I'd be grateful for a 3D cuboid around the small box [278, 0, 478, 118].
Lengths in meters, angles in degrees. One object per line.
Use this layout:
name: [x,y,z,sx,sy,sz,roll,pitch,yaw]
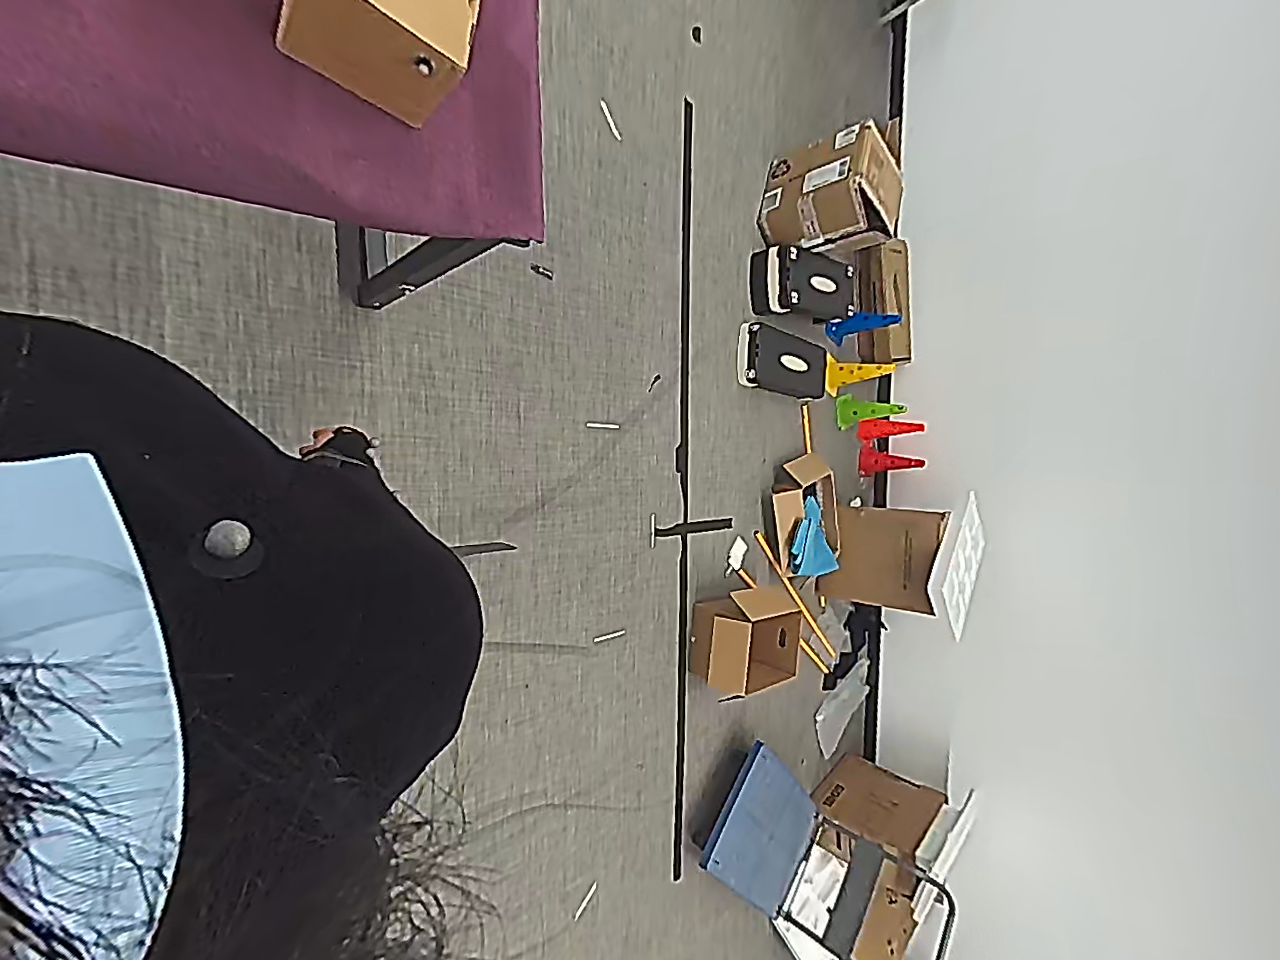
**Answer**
small box: [-0.314,-0.588,0.653,0.179,0.176,0.168,10,86,-43]
